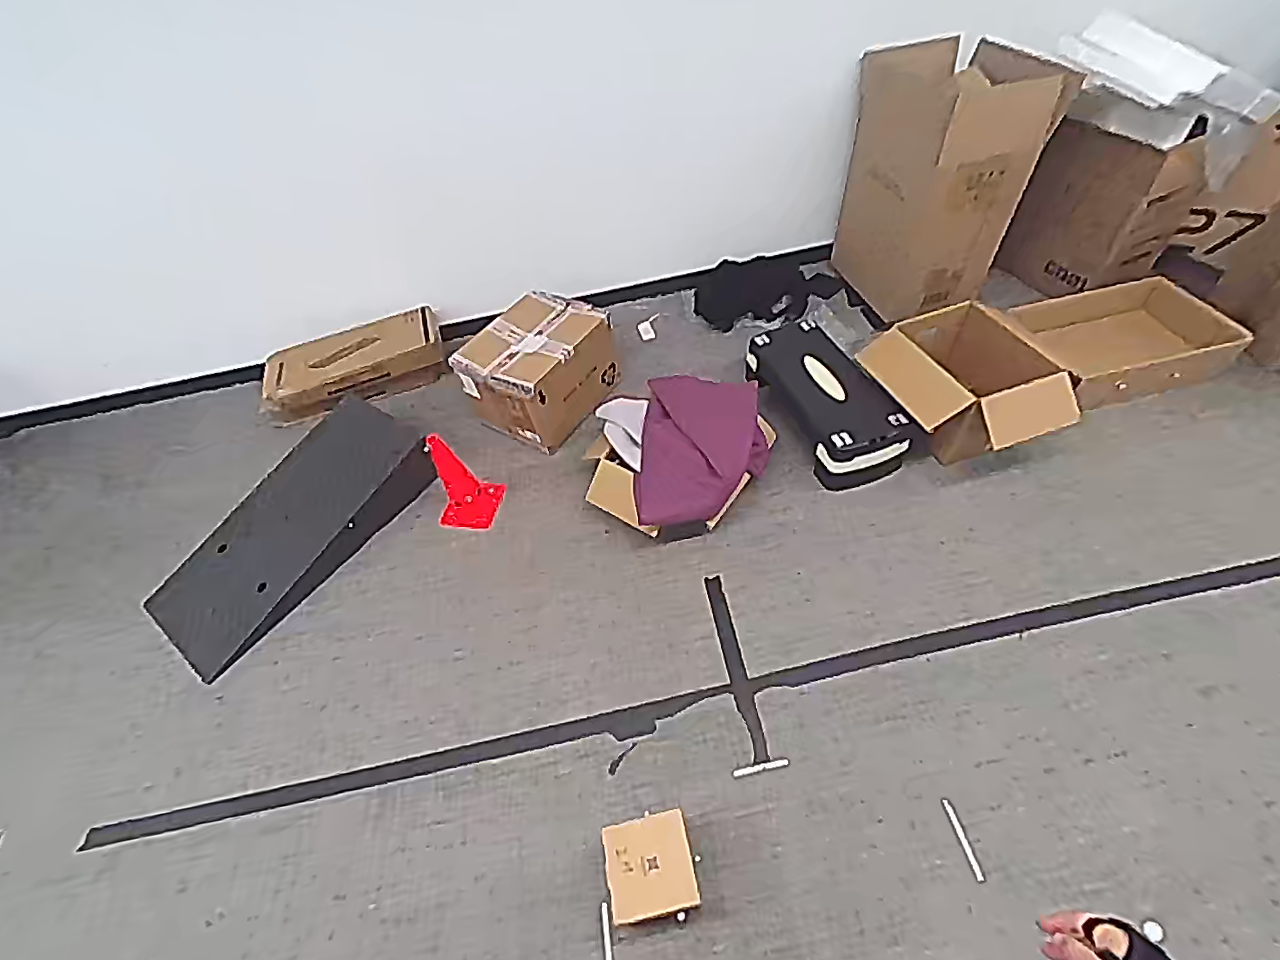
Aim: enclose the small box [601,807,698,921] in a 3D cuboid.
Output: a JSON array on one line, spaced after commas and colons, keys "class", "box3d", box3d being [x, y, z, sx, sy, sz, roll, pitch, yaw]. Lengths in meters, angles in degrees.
[{"class": "small box", "box3d": [0.023, 0.823, 1.161, 0.179, 0.176, 0.168, -13, 50, -1]}]
